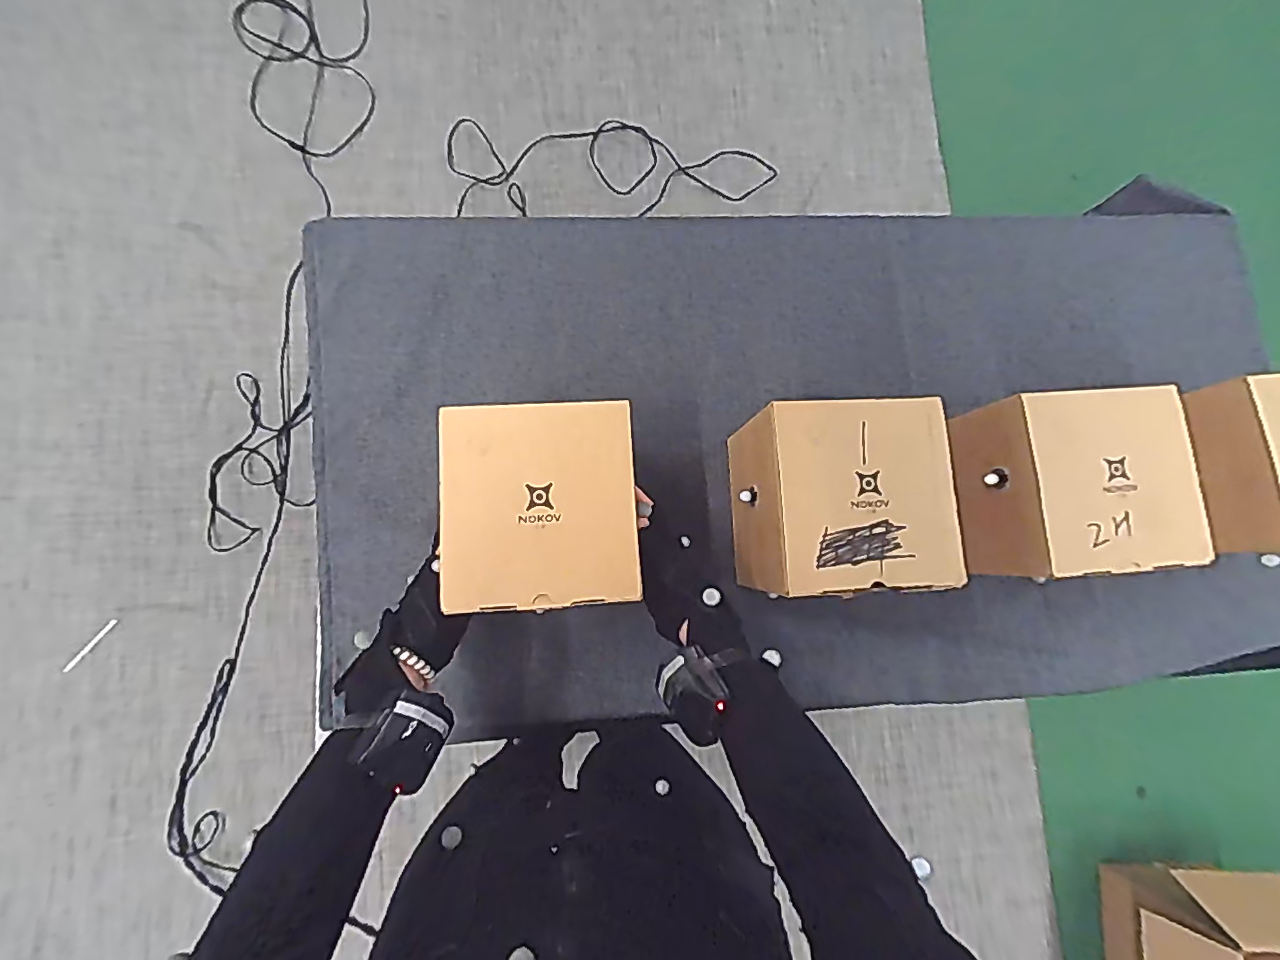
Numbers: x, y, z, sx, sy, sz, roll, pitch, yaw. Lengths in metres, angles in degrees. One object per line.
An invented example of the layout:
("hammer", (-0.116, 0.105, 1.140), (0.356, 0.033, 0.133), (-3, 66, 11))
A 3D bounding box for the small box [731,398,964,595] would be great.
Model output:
("small box", (0.198, 0.022, 0.564), (0.168, 0.176, 0.179), (-2, 81, -6))

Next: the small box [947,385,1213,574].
("small box", (0.440, 0.009, 0.586), (0.168, 0.176, 0.179), (-4, 82, -5))

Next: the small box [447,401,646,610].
("small box", (-0.089, 0.030, 0.537), (0.168, 0.176, 0.179), (-3, 82, -6))
